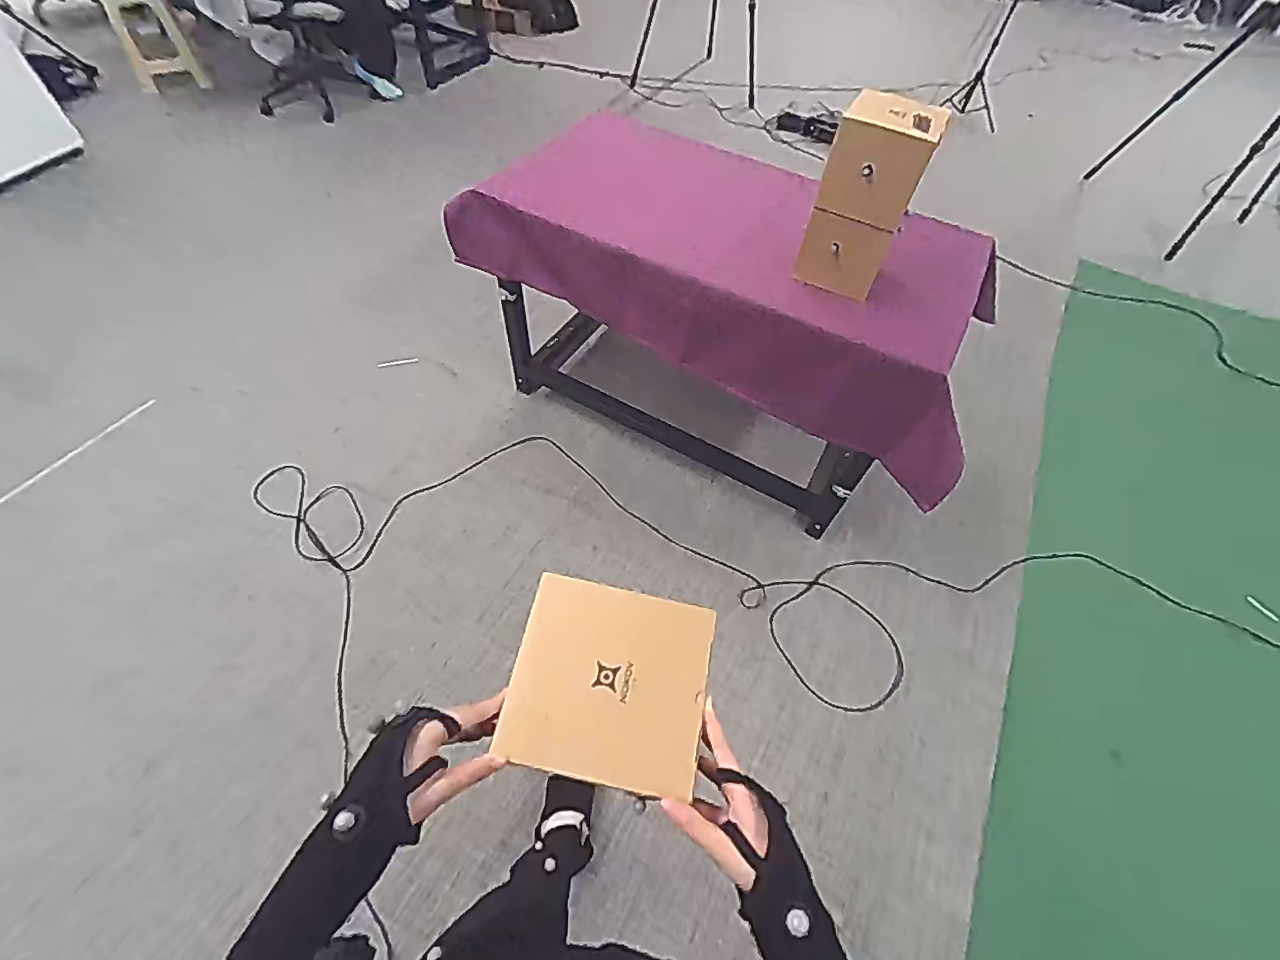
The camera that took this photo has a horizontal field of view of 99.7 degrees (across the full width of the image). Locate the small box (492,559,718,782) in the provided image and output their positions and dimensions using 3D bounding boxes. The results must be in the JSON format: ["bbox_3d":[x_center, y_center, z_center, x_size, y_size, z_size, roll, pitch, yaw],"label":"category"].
[{"bbox_3d":[-0.032,0.204,0.560,0.179,0.176,0.168,14,60,1],"label":"small box"}]

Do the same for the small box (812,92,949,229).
[{"bbox_3d":[0.470,-0.628,1.072,0.179,0.176,0.168,26,56,14],"label":"small box"}]

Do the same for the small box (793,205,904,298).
[{"bbox_3d":[0.462,-0.536,1.208,0.179,0.176,0.168,24,57,13],"label":"small box"}]
